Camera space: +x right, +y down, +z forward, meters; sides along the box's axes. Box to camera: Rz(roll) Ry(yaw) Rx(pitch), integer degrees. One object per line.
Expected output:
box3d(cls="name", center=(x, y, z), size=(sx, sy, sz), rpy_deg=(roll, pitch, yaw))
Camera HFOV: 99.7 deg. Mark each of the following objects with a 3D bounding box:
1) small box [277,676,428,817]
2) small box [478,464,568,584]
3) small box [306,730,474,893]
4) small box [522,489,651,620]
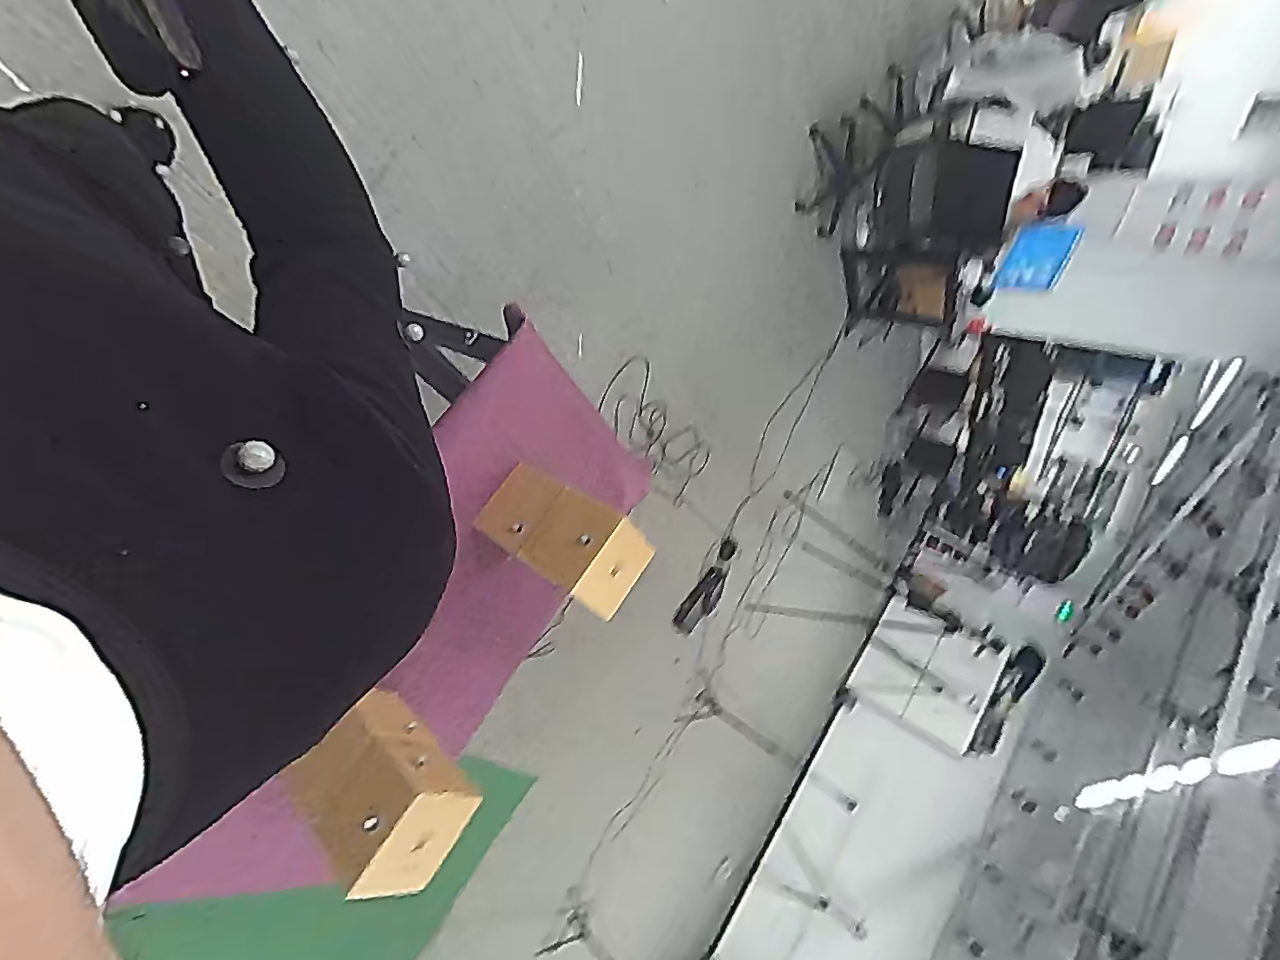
box3d(cls="small box", center=(-0.558, 0.514, 1.042), size=(0.179, 0.176, 0.168), rpy_deg=(-55, 143, -13))
box3d(cls="small box", center=(-0.232, 0.094, 1.201), size=(0.179, 0.176, 0.168), rpy_deg=(-53, 143, -15))
box3d(cls="small box", center=(-0.438, 0.571, 0.946), size=(0.179, 0.176, 0.168), rpy_deg=(-54, 142, -15))
box3d(cls="small box", center=(-0.115, 0.148, 1.103), size=(0.179, 0.176, 0.168), rpy_deg=(-54, 142, -15))
